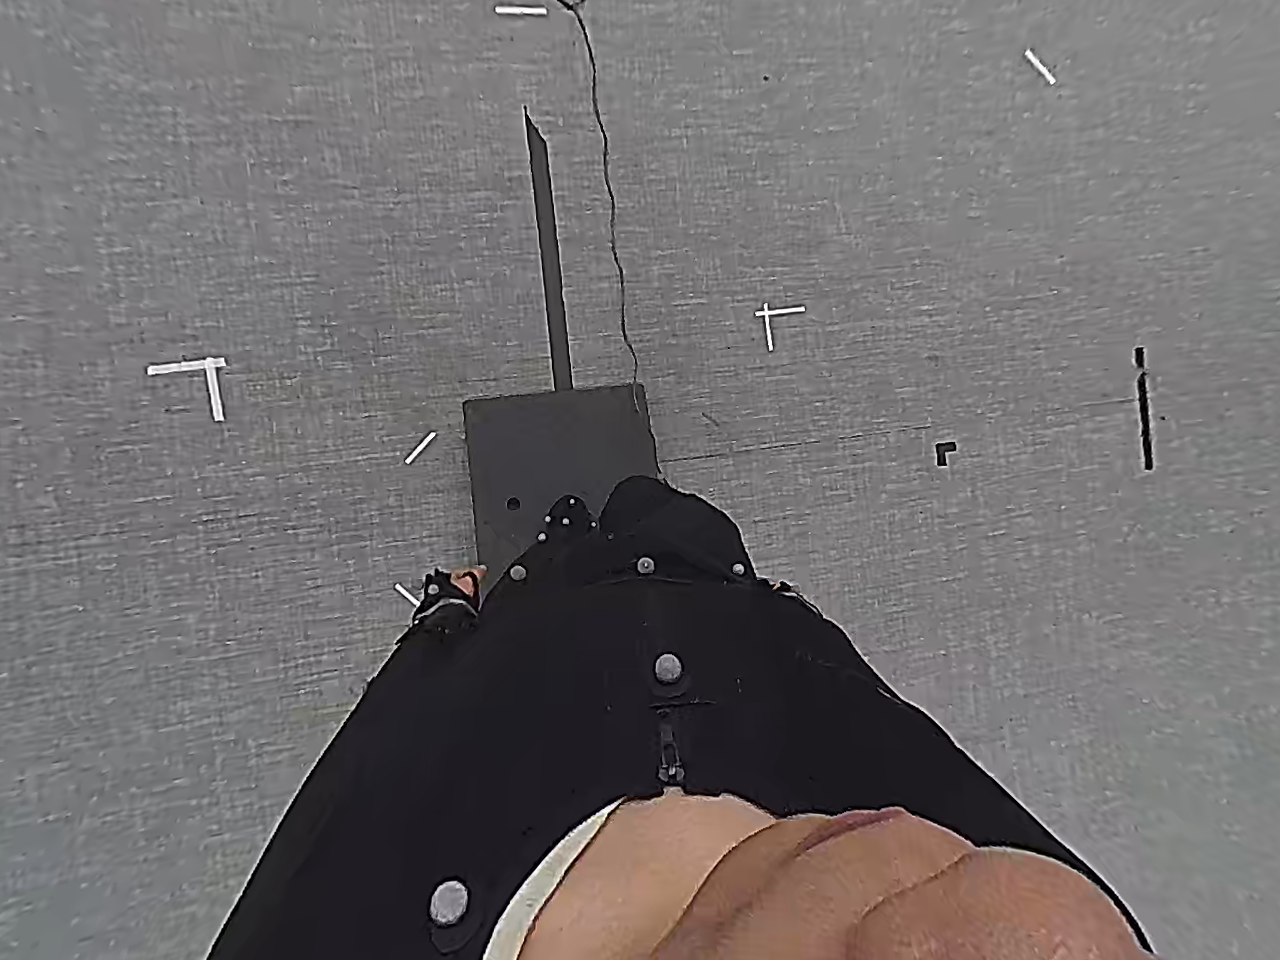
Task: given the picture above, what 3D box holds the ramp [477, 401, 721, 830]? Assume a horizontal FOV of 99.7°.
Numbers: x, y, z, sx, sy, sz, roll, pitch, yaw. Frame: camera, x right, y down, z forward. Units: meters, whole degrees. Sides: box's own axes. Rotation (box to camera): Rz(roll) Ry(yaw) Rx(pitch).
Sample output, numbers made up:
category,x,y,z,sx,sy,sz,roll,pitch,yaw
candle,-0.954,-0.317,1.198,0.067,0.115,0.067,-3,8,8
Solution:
category,x,y,z,sx,sy,sz,roll,pitch,yaw
ramp,-0.123,0.293,1.375,0.509,0.206,0.991,-9,88,-7
